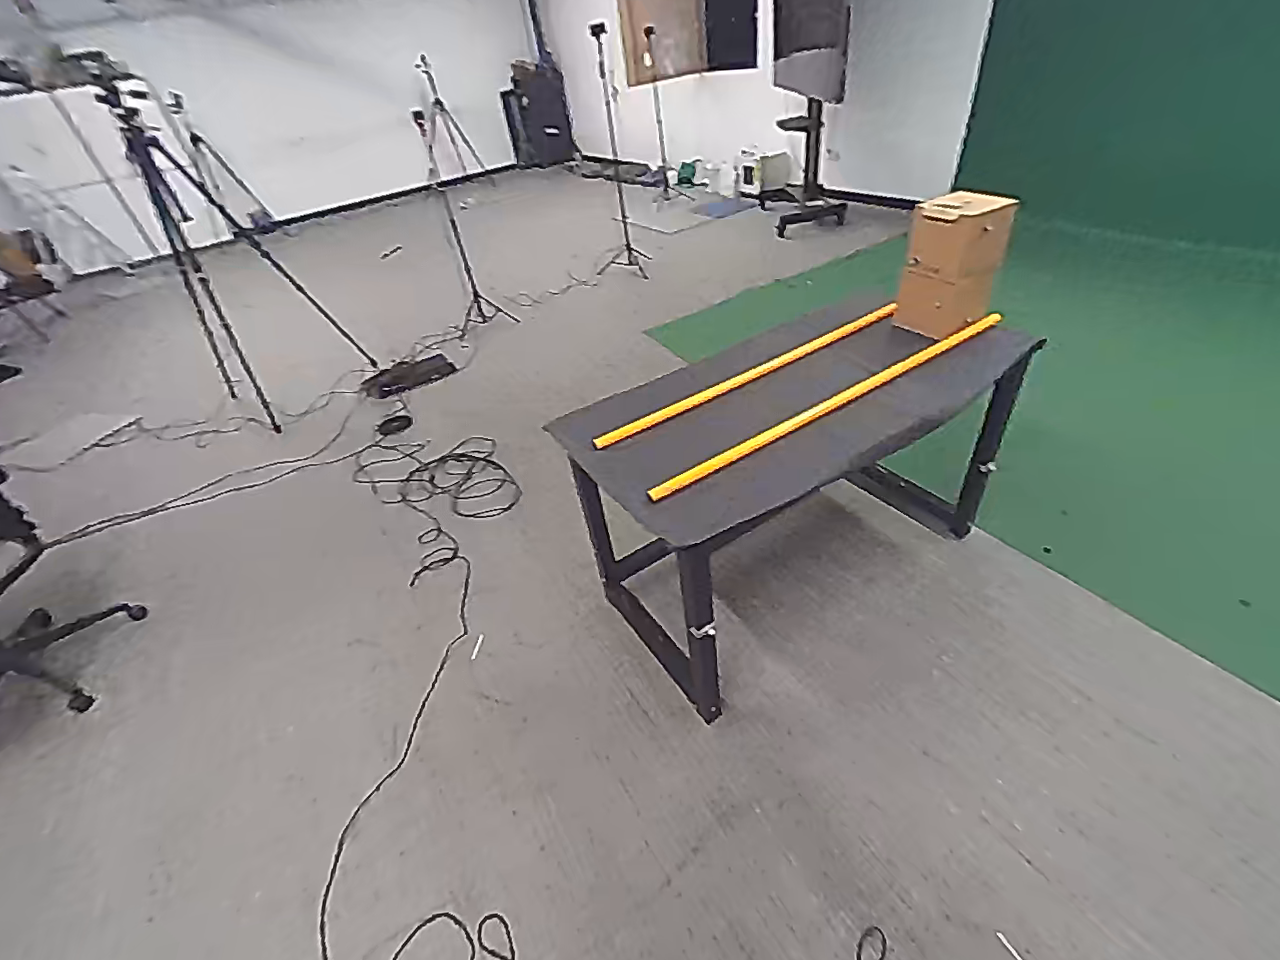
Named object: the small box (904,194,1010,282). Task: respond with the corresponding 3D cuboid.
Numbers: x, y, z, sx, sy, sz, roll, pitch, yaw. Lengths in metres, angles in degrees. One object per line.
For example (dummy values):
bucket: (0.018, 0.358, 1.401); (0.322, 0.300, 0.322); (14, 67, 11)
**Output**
small box: (0.837, -0.648, 1.449); (0.179, 0.176, 0.168); (-23, 42, -17)
